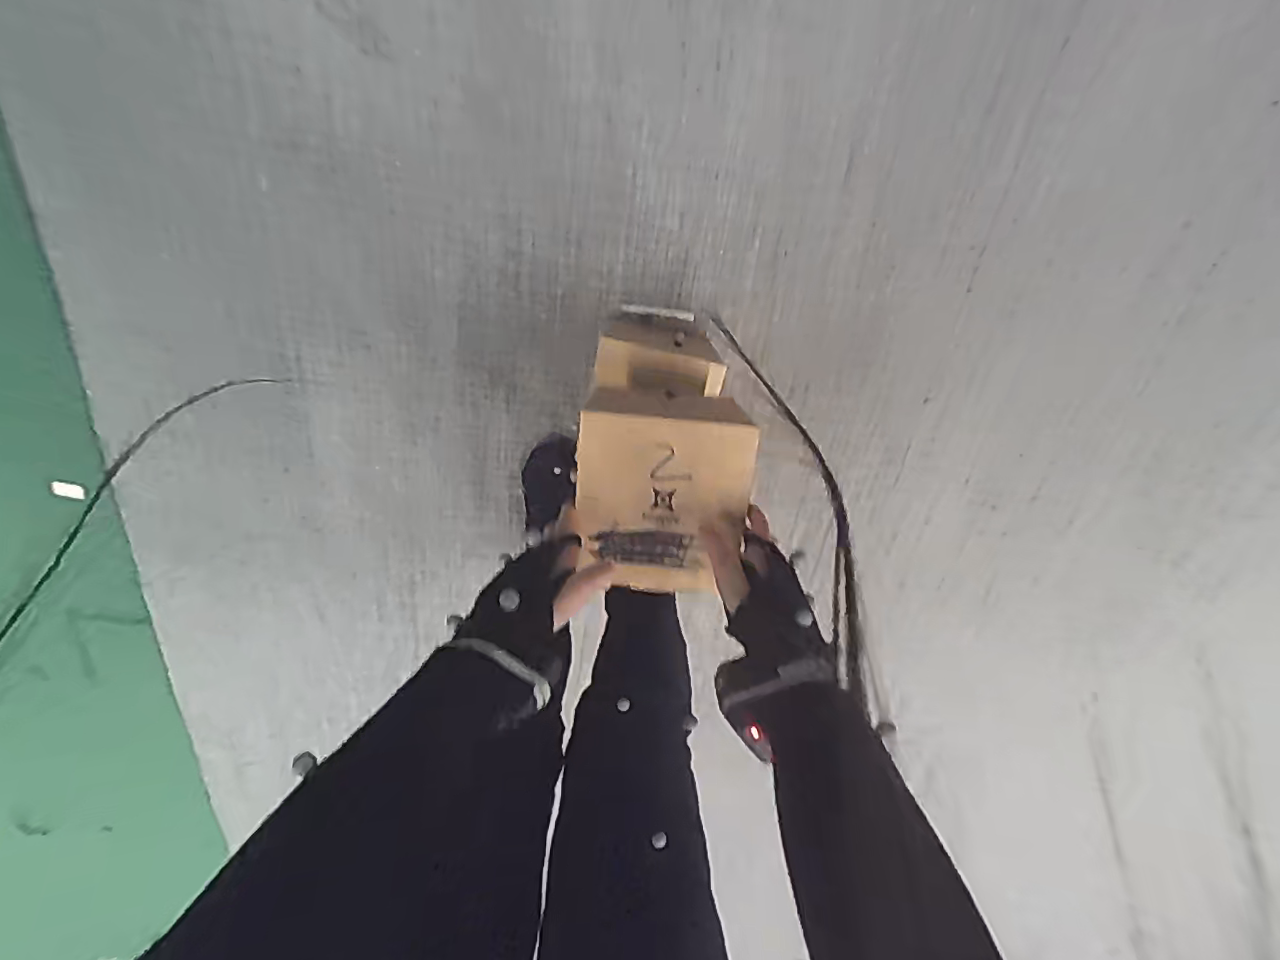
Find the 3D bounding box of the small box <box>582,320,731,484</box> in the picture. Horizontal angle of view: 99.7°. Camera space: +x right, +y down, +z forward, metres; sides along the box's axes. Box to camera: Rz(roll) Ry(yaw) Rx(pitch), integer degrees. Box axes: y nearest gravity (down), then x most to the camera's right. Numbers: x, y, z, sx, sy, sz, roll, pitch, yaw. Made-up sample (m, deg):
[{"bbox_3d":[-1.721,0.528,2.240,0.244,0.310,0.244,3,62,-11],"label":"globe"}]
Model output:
[{"bbox_3d":[0.017,-0.122,0.794,0.168,0.176,0.179,13,116,-7],"label":"small box"}]
